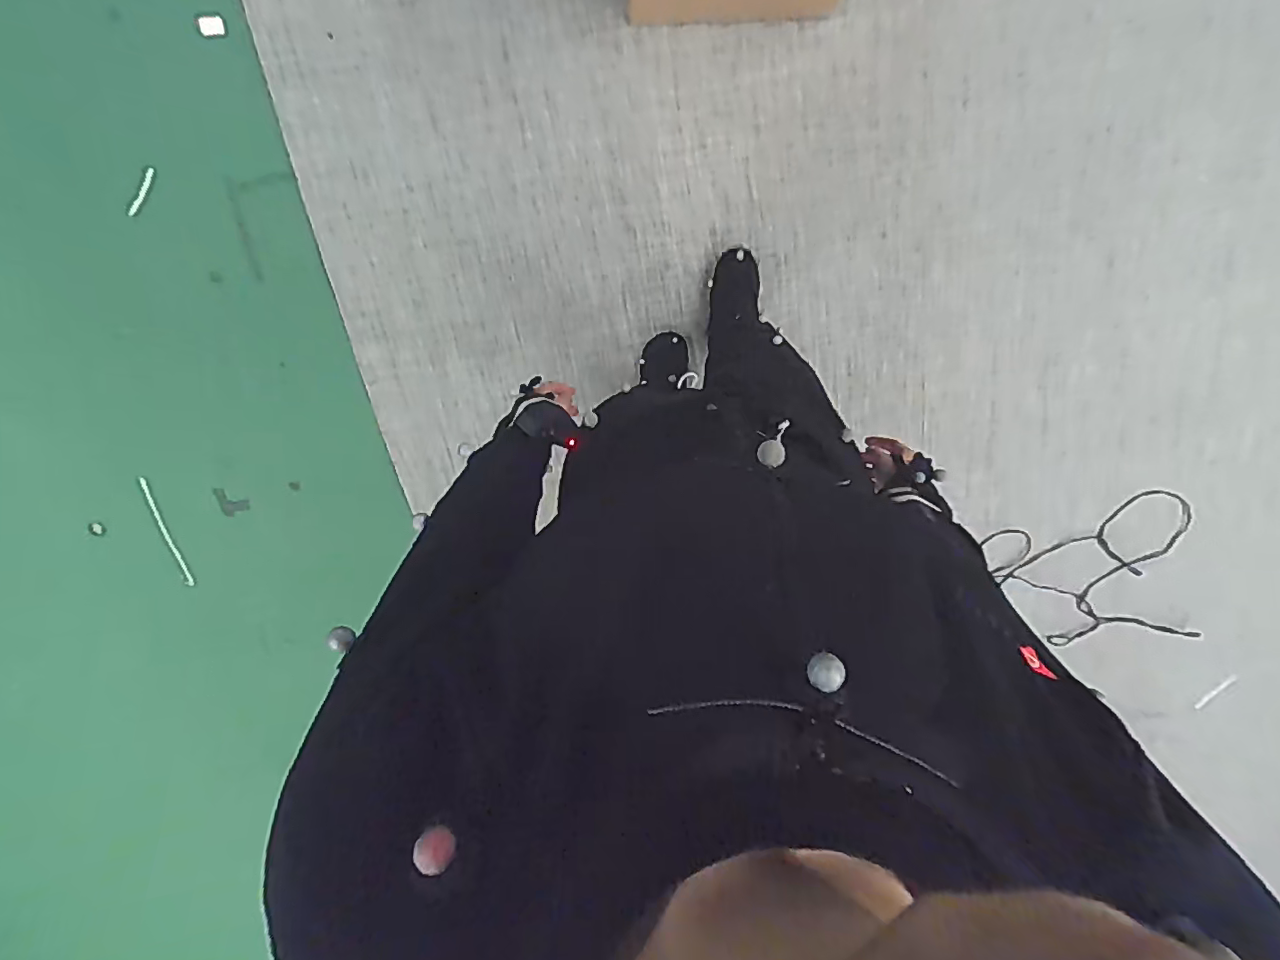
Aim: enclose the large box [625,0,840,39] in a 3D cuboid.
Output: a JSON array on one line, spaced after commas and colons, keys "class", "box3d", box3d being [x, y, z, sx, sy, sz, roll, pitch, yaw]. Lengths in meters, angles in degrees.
[{"class": "large box", "box3d": [0.165, -0.992, 0.896, 0.408, 0.320, 0.320, -4, 109, -1]}]
